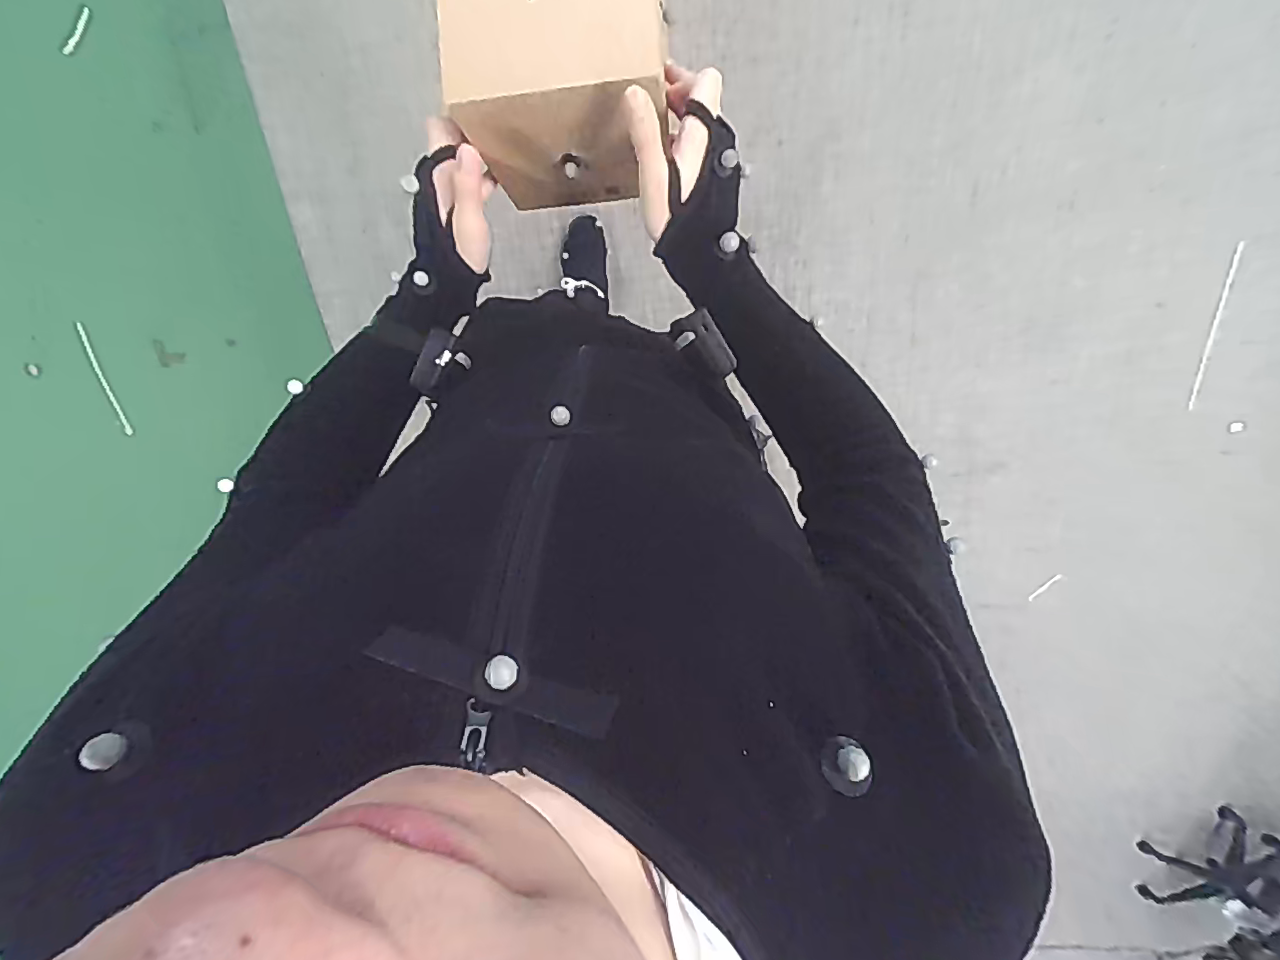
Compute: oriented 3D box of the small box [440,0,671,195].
[{"bbox_3d":[-0.060,-0.375,0.477,0.168,0.176,0.179,-2,89,6],"label":"small box"}]
